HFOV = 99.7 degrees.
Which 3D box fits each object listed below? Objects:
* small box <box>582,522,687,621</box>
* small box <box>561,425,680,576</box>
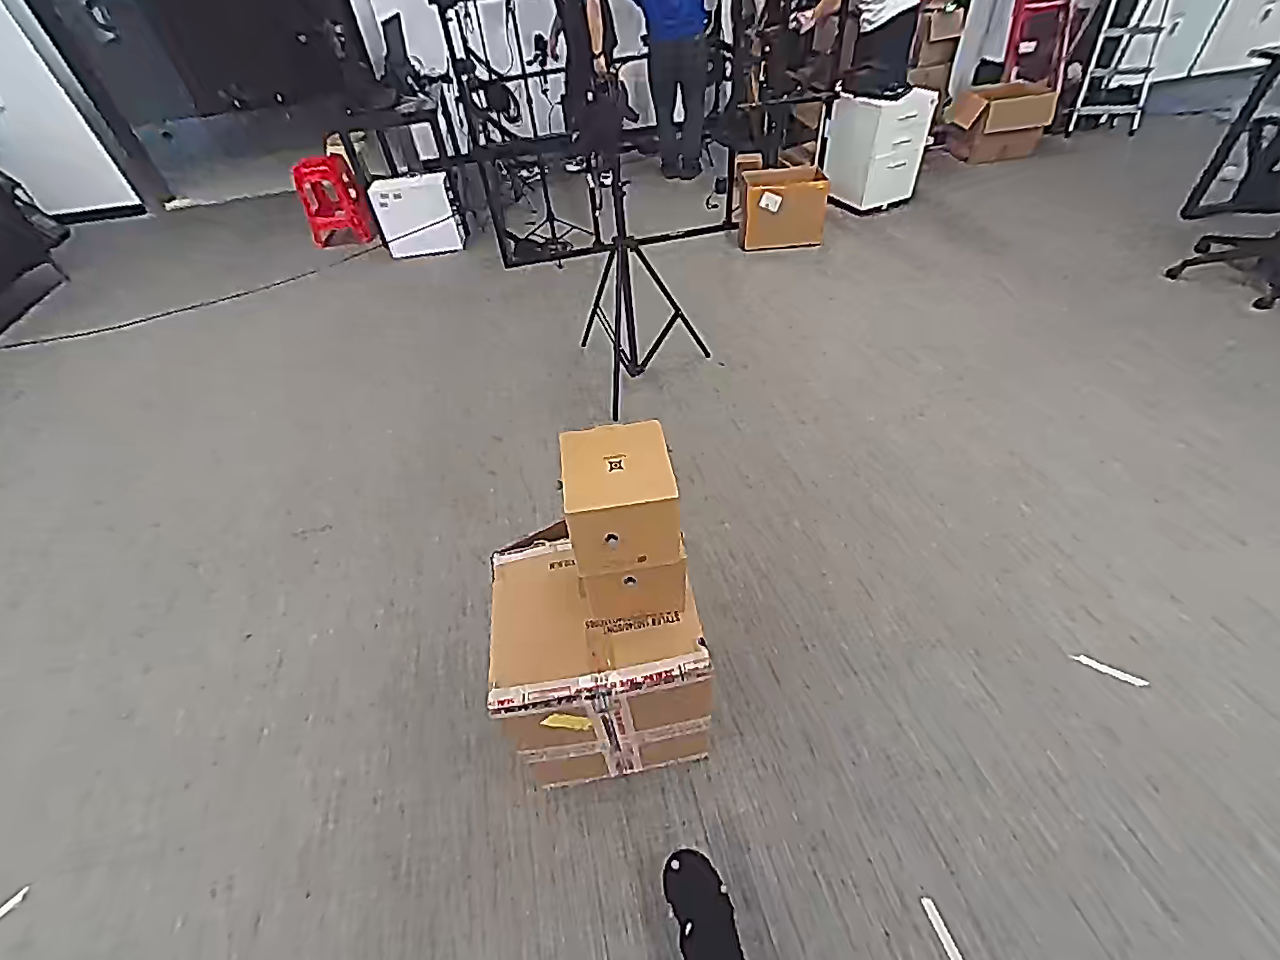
[{"bbox_3d":[-0.011,0.145,0.995,0.179,0.176,0.168,-7,47,-2],"label":"small box"},{"bbox_3d":[-0.030,0.039,0.872,0.168,0.176,0.179,-9,46,-4],"label":"small box"}]
